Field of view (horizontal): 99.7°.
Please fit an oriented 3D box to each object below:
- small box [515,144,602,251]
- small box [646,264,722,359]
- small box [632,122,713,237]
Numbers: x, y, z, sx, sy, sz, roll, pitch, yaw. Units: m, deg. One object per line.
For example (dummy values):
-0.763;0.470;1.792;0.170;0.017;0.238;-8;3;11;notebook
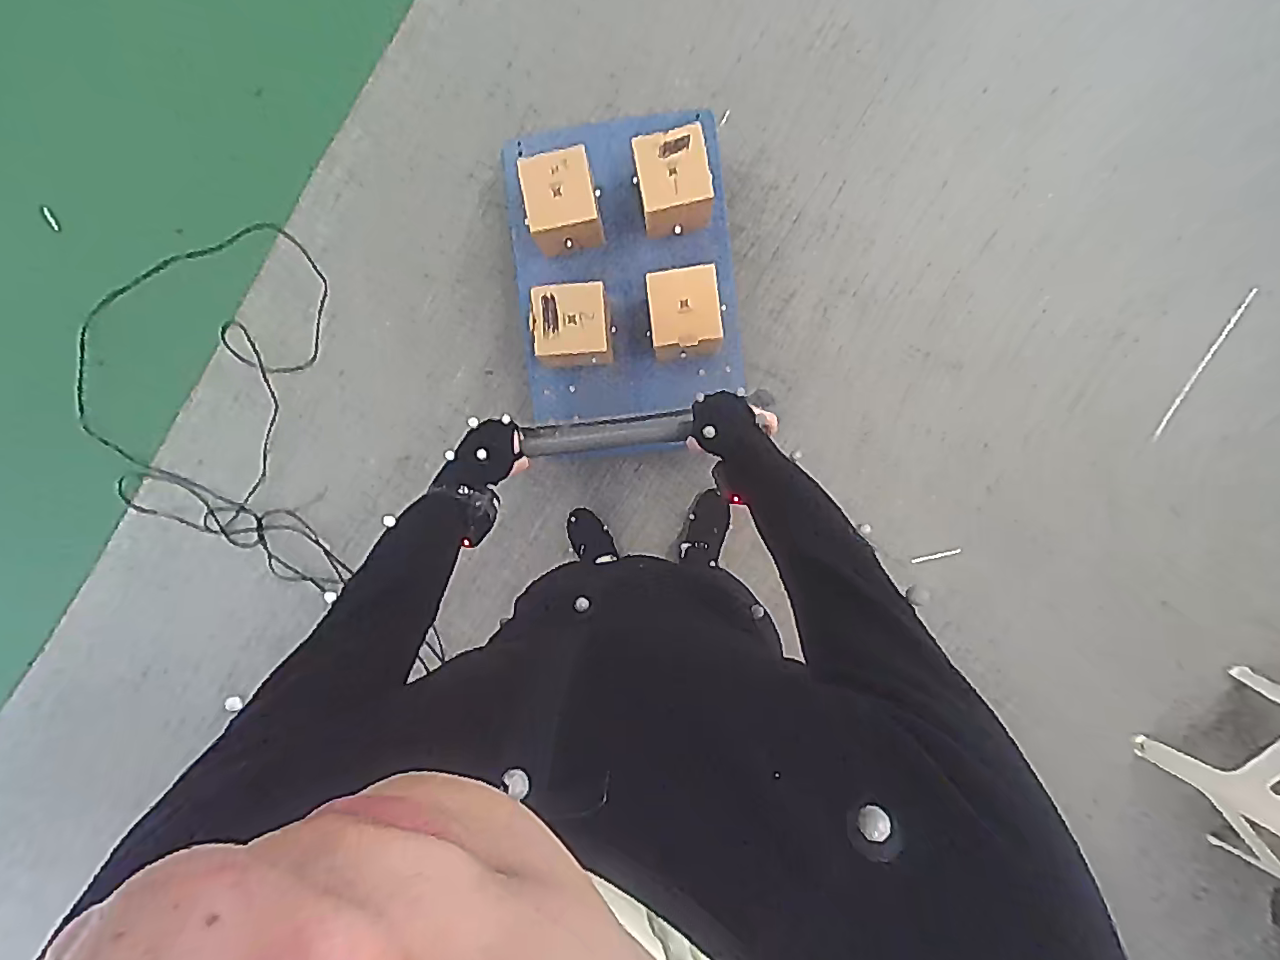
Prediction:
-0.195;-0.688;1.344;0.168;0.176;0.179;-10;92;3;small box
0.106;-0.411;1.342;0.168;0.176;0.179;-7;93;4;small box
0.078;-0.728;1.328;0.168;0.176;0.179;-10;93;4;small box
